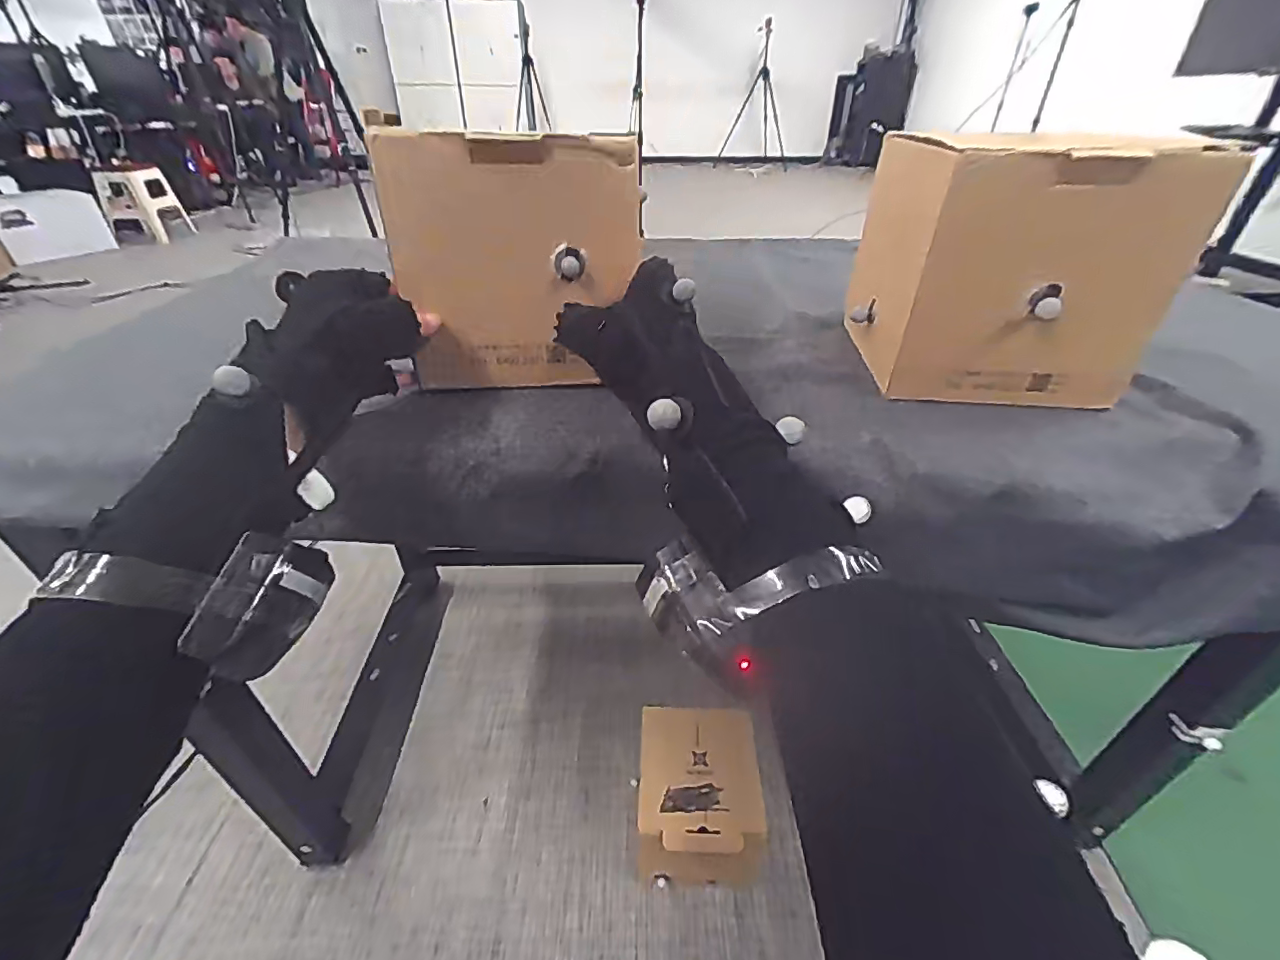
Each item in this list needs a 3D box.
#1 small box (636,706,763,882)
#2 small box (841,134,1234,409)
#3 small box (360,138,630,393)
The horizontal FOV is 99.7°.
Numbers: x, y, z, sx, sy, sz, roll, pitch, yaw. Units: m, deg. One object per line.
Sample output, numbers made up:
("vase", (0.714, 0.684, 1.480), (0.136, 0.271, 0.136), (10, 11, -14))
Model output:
("small box", (0.083, 0.463, 0.799), (0.168, 0.176, 0.179), (1, 34, 2))
("small box", (0.273, -0.168, 0.431), (0.168, 0.176, 0.179), (4, 36, 5))
("small box", (-0.096, -0.177, 0.444), (0.168, 0.176, 0.179), (-3, 33, -5))
